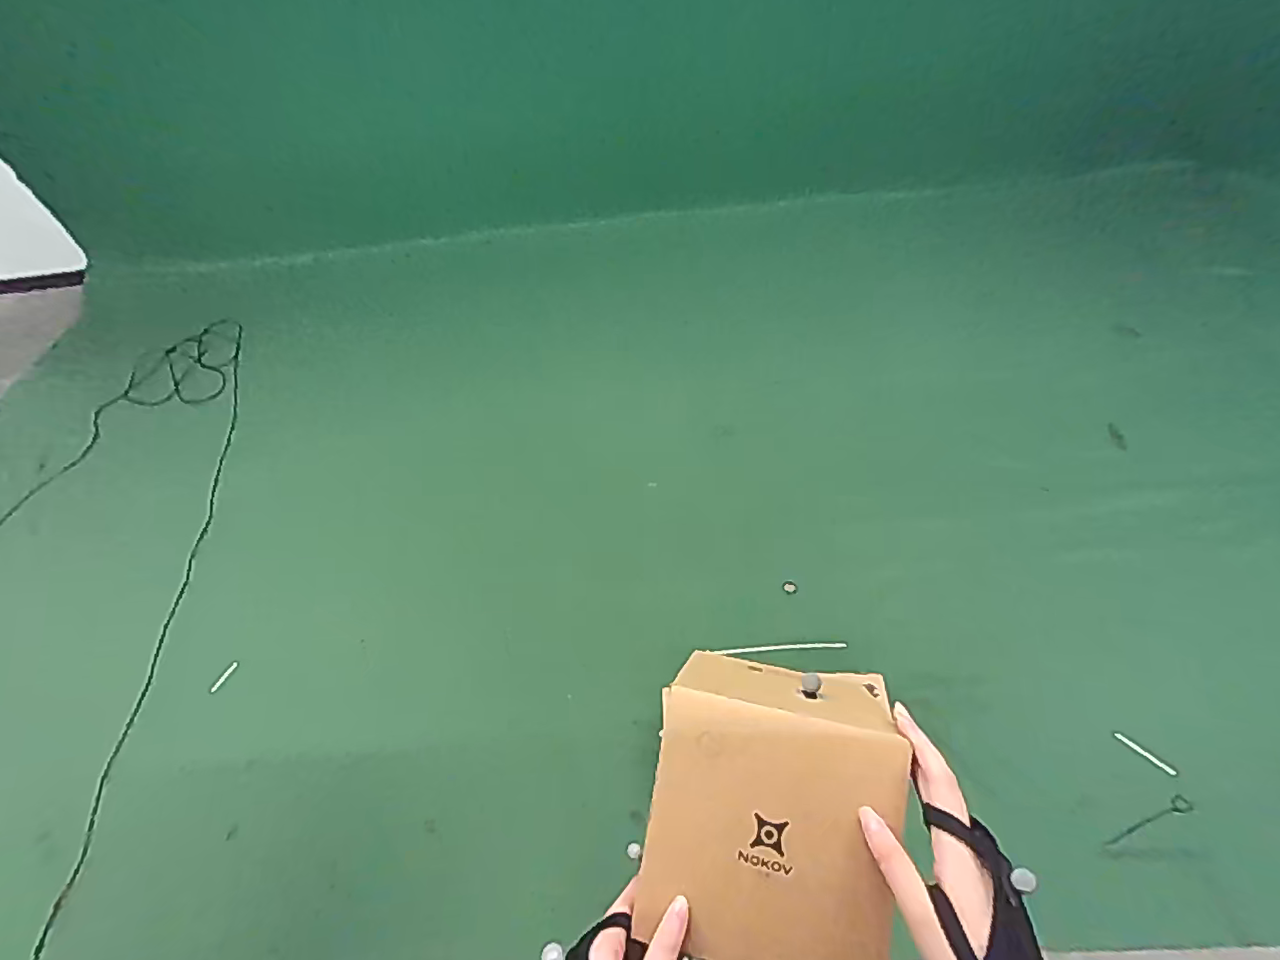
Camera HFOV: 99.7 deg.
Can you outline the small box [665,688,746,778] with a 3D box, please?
[{"bbox_3d":[0.152,0.605,1.289,0.179,0.176,0.168,-4,52,5],"label":"small box"}]
